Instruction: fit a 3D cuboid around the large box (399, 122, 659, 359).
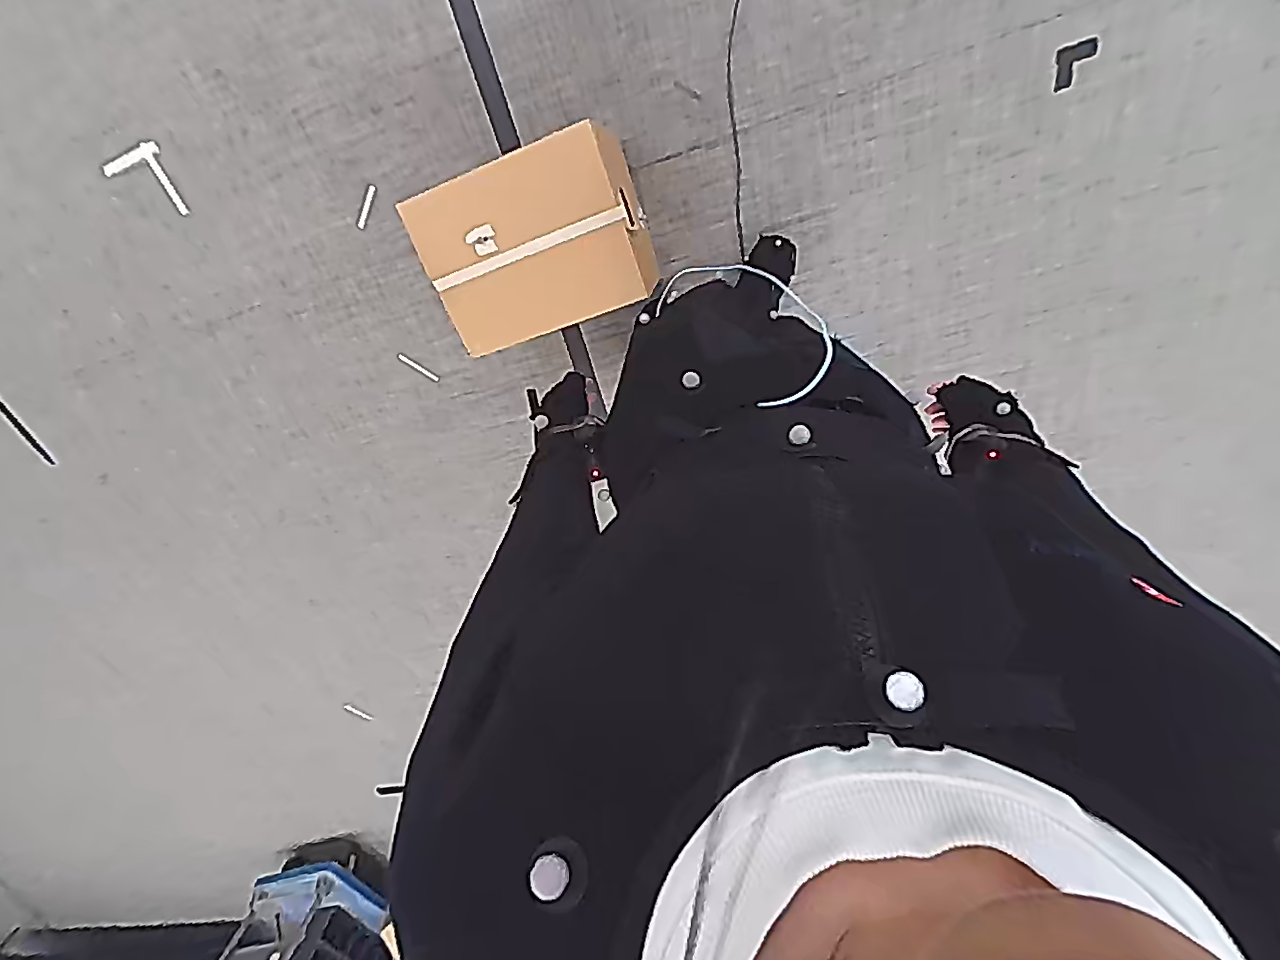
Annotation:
[{"bbox_3d":[-0.205,-0.505,1.161,0.408,0.320,0.320,-14,114,15],"label":"large box"}]
